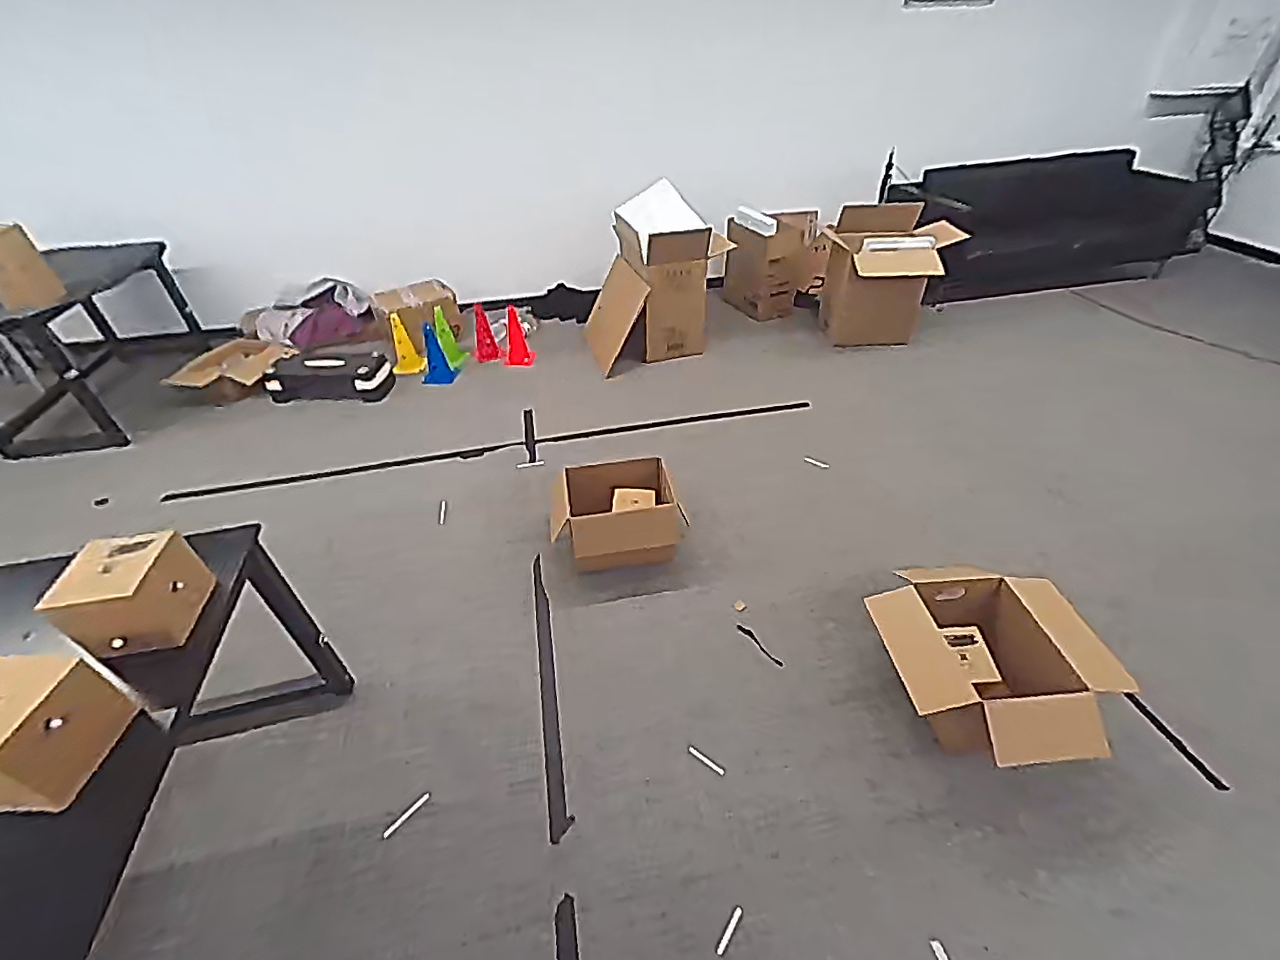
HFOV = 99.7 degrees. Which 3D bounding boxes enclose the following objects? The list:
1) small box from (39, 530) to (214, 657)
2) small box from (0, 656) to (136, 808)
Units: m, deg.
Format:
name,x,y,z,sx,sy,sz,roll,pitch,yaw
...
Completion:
name,x,y,z,sx,sy,sz,roll,pitch,yaw
small box,-1.020,0.229,1.099,0.168,0.176,0.179,-9,42,-7
small box,-0.997,0.411,0.887,0.168,0.176,0.179,-2,41,2
